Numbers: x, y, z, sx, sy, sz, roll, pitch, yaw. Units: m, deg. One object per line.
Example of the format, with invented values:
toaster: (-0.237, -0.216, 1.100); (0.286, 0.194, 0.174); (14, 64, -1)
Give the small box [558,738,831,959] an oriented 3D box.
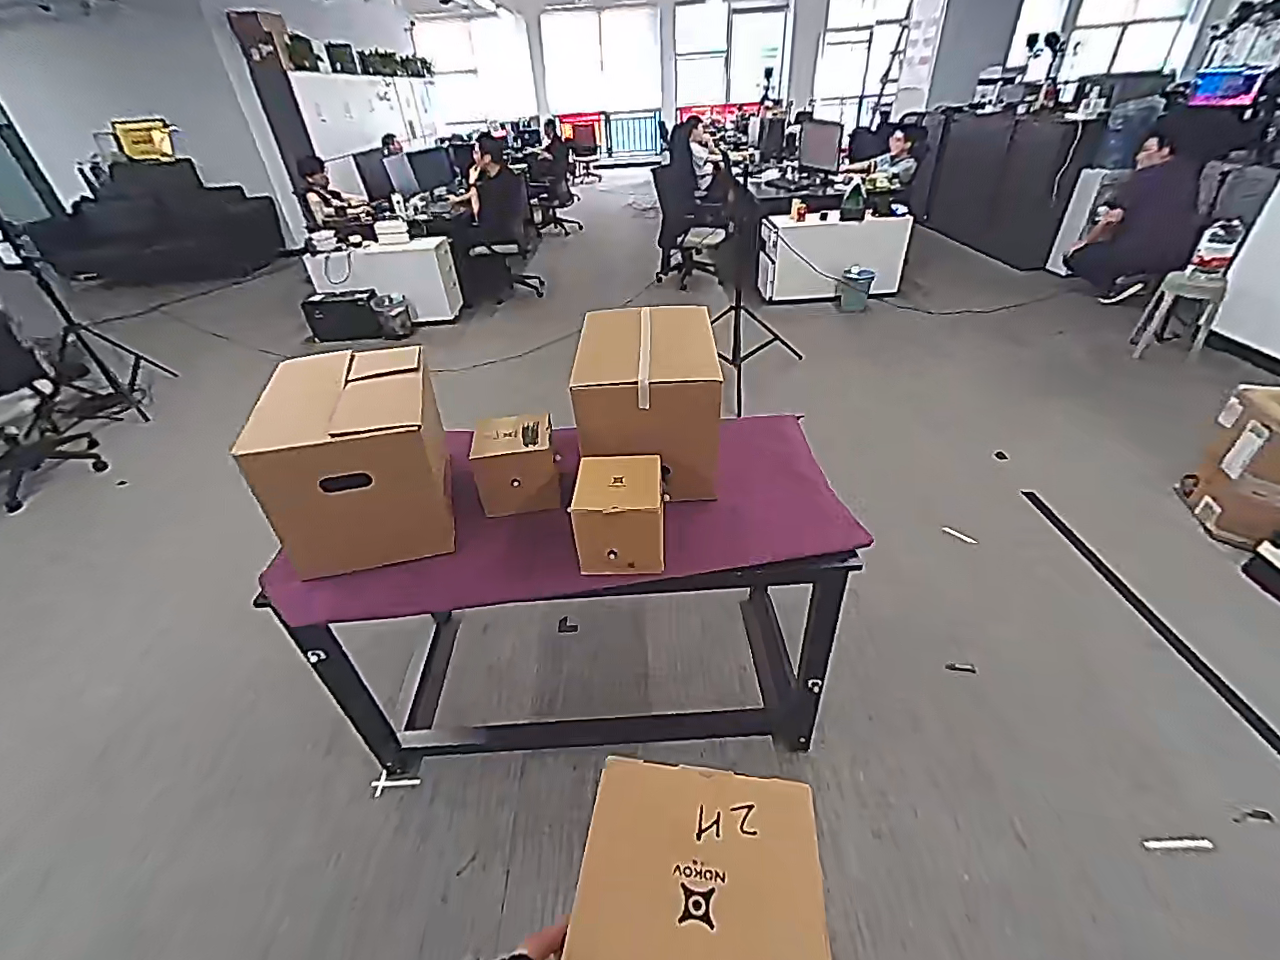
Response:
small box: (0.042, 0.332, 0.405); (0.168, 0.176, 0.179); (4, 31, 8)
